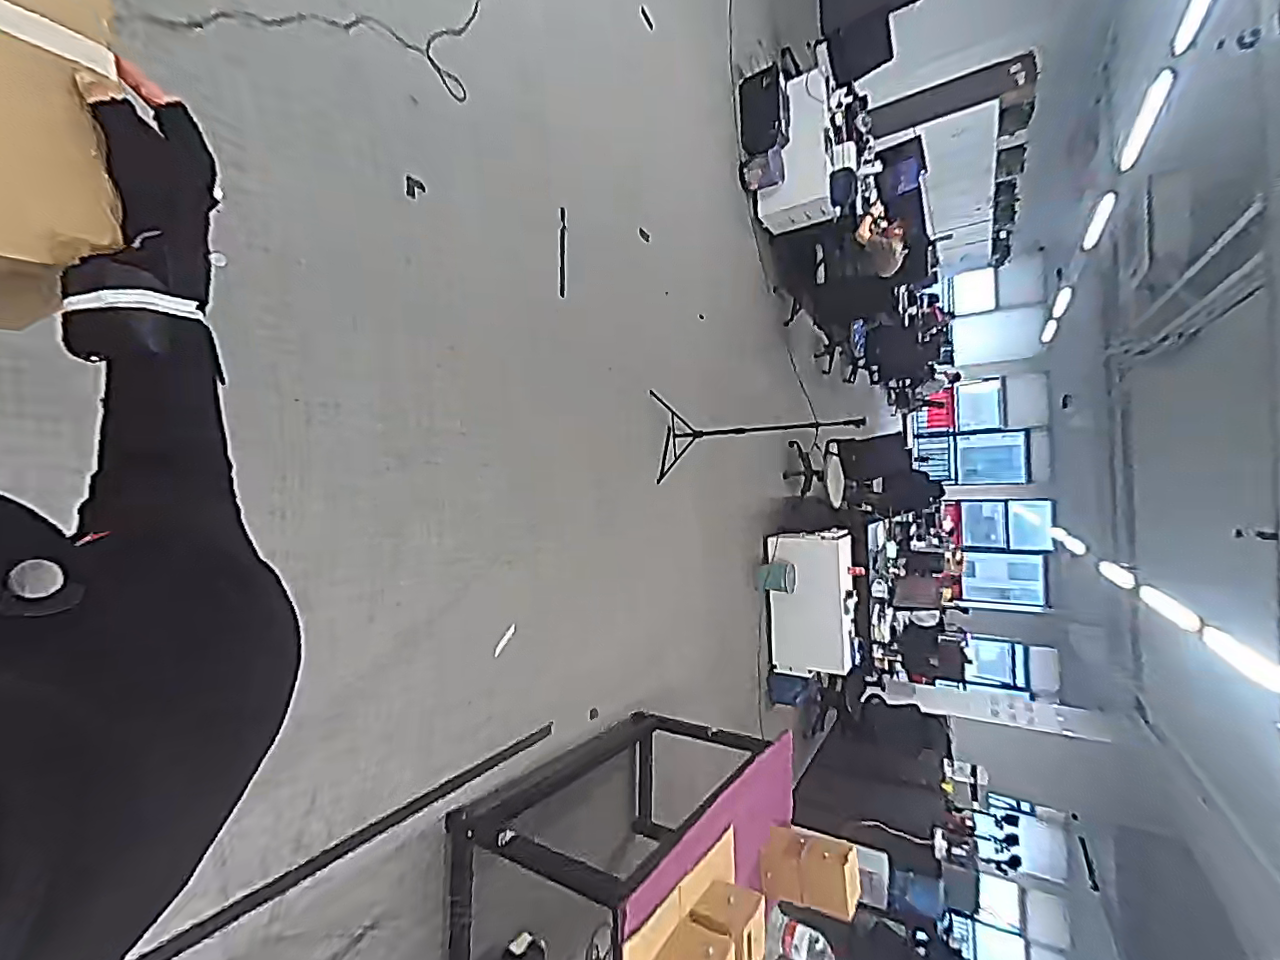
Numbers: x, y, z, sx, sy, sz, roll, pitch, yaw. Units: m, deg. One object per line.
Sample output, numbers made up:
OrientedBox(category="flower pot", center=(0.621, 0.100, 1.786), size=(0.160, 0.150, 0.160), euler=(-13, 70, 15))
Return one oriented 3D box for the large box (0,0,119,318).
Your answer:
OrientedBox(category="large box", center=(-0.638, -0.303, 0.316), size=(0.408, 0.320, 0.320), euler=(-6, 97, -59))
